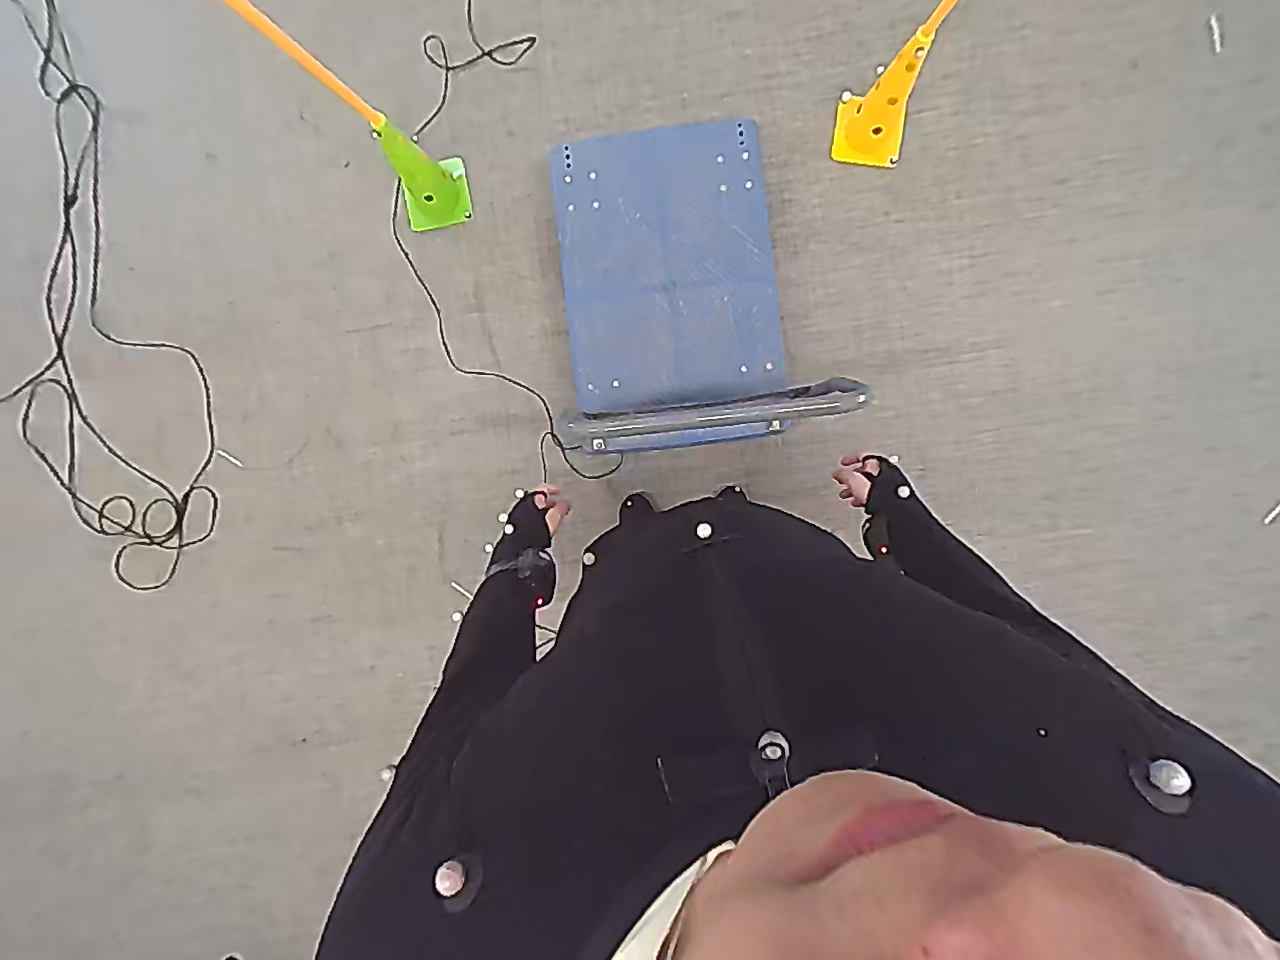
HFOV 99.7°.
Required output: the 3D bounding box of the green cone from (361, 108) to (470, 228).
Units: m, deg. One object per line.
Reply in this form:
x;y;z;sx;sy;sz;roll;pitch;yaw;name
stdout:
-0.643;-0.890;1.490;0.202;0.368;0.200;-12;89;4;green cone
